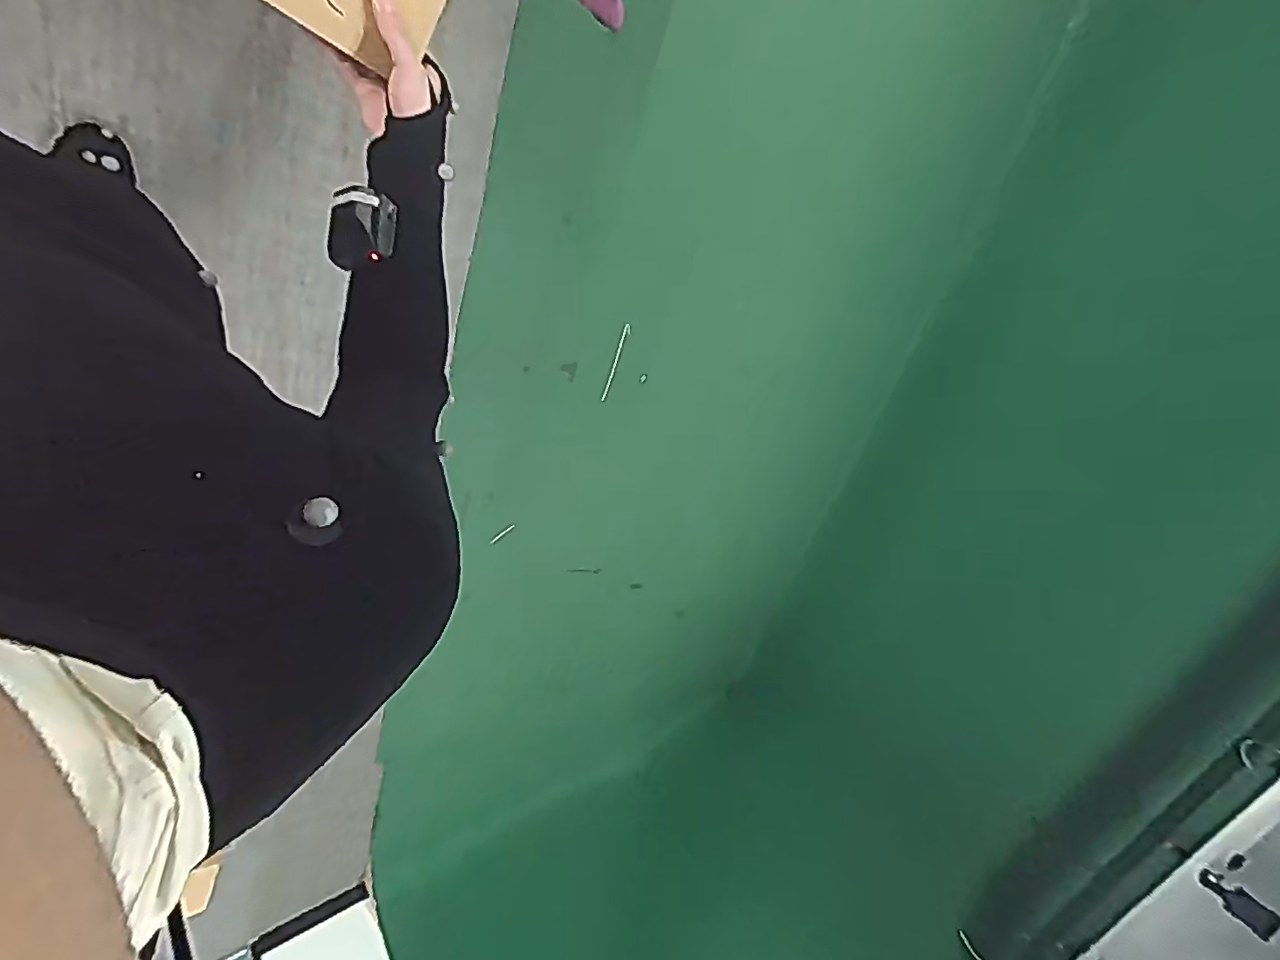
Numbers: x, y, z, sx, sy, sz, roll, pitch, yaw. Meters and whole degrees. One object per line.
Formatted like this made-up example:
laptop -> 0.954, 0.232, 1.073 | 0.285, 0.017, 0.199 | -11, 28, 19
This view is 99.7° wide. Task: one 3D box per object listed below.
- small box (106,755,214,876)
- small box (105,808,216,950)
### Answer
small box -> -1.201, 0.825, 1.352 | 0.179, 0.176, 0.168 | 11, 111, -47
small box -> -1.105, 0.907, 1.247 | 0.168, 0.176, 0.179 | 8, 113, -47
